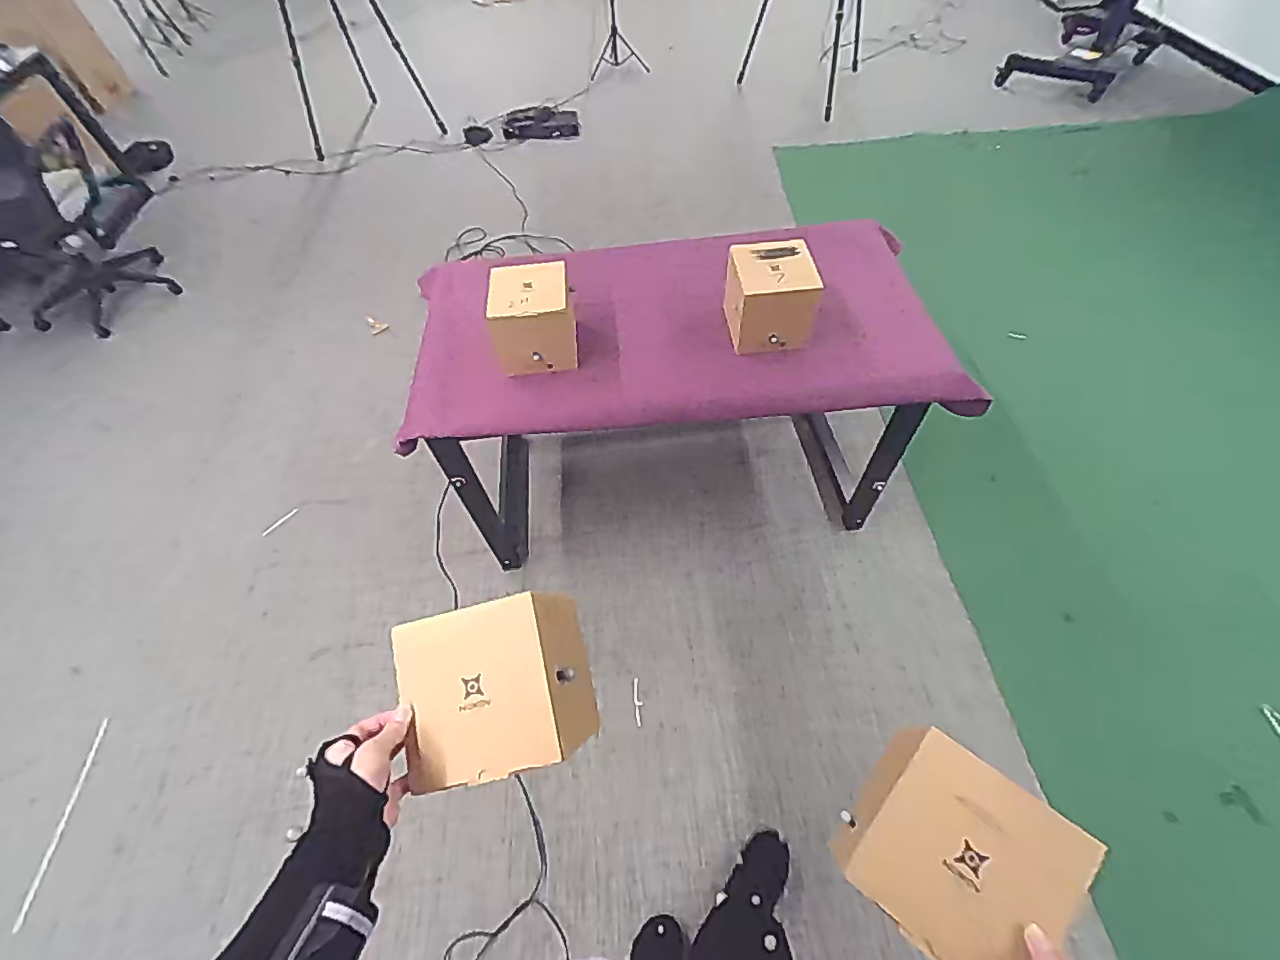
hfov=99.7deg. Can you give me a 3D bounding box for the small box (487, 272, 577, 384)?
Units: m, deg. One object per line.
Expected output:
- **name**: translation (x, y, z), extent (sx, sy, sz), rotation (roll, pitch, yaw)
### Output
- **small box**: translation (-0.237, -0.343, 1.226), extent (0.168, 0.176, 0.179), rotation (-6, 55, 0)

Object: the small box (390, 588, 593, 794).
- **small box**: translation (-0.167, 0.238, 0.646), extent (0.168, 0.176, 0.179), rotation (-16, 75, 4)

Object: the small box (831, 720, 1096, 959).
- **small box**: translation (0.322, 0.387, 0.578), extent (0.168, 0.176, 0.179), rotation (33, 77, 25)
